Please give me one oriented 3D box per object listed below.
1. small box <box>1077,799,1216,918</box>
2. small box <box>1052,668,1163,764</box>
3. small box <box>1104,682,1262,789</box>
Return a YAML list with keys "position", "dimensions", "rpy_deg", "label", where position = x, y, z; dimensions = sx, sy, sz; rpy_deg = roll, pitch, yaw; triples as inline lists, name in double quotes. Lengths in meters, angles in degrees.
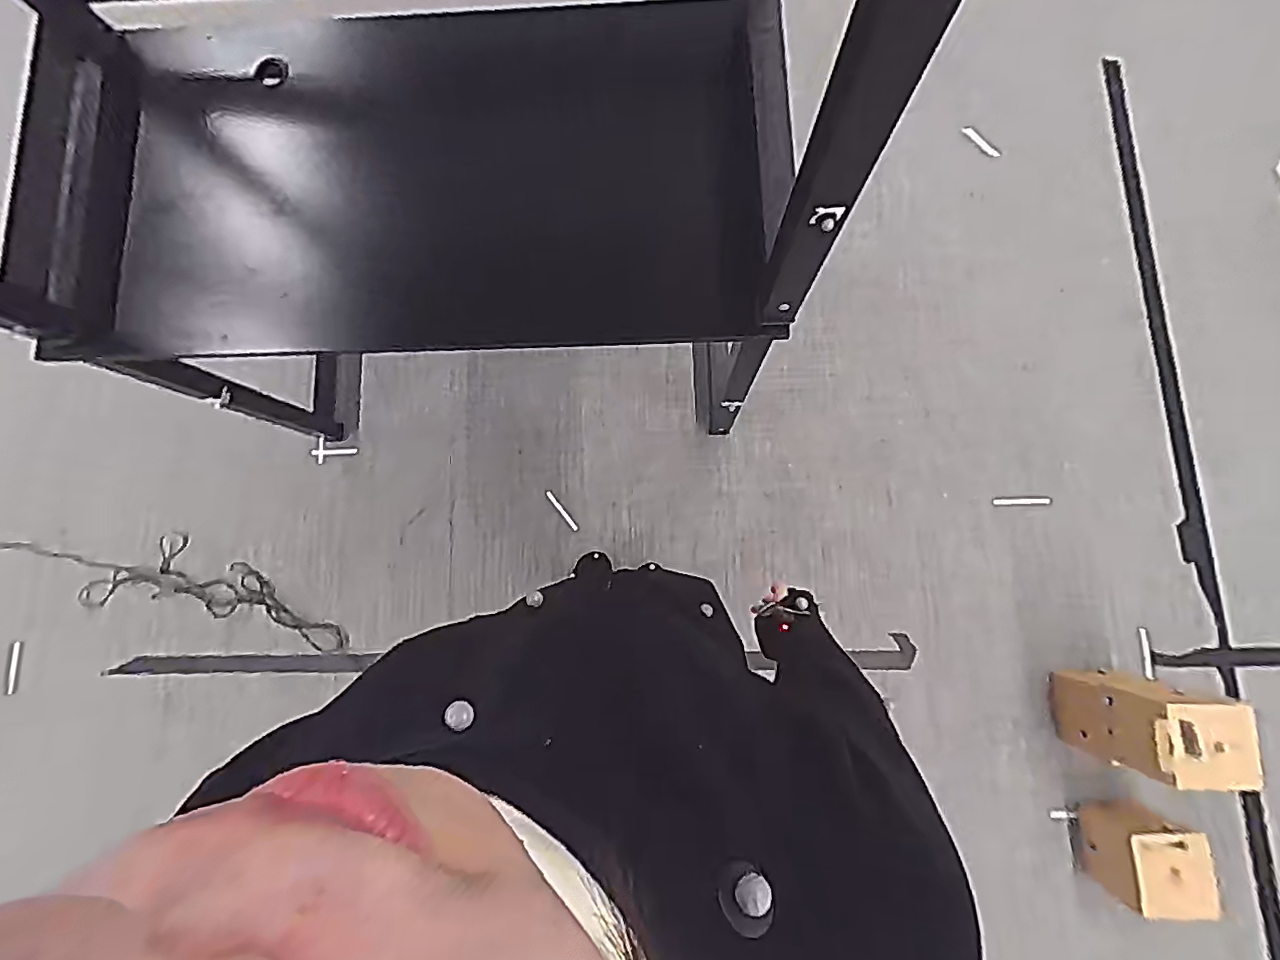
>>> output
- position: [1.185, 0.886, 1.278]
  dimensions: [0.168, 0.176, 0.179]
  rpy_deg: [-2, 83, 2]
  label: "small box"
- position: [1.154, 0.569, 1.320]
  dimensions: [0.168, 0.176, 0.179]
  rpy_deg: [-3, 82, 2]
  label: "small box"
- position: [1.144, 0.540, 1.159]
  dimensions: [0.179, 0.176, 0.168]
  rpy_deg: [0, 83, 1]
  label: "small box"
